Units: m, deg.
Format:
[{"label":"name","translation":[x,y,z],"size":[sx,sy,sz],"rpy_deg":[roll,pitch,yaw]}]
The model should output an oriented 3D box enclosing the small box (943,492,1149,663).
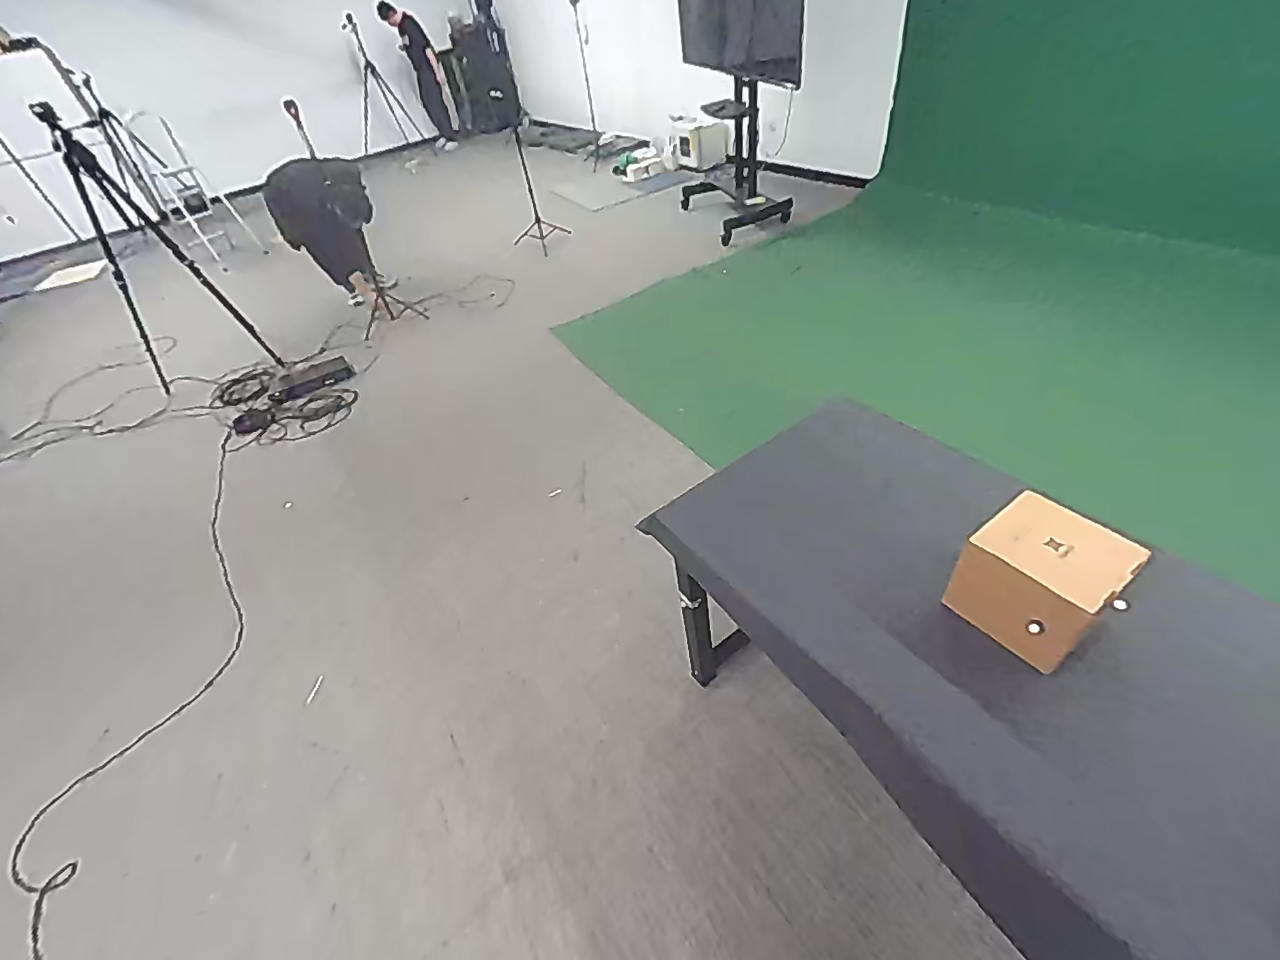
[{"label":"small box","translation":[0.620,0.158,0.848],"size":[0.168,0.176,0.179],"rpy_deg":[-29,46,-22]}]
